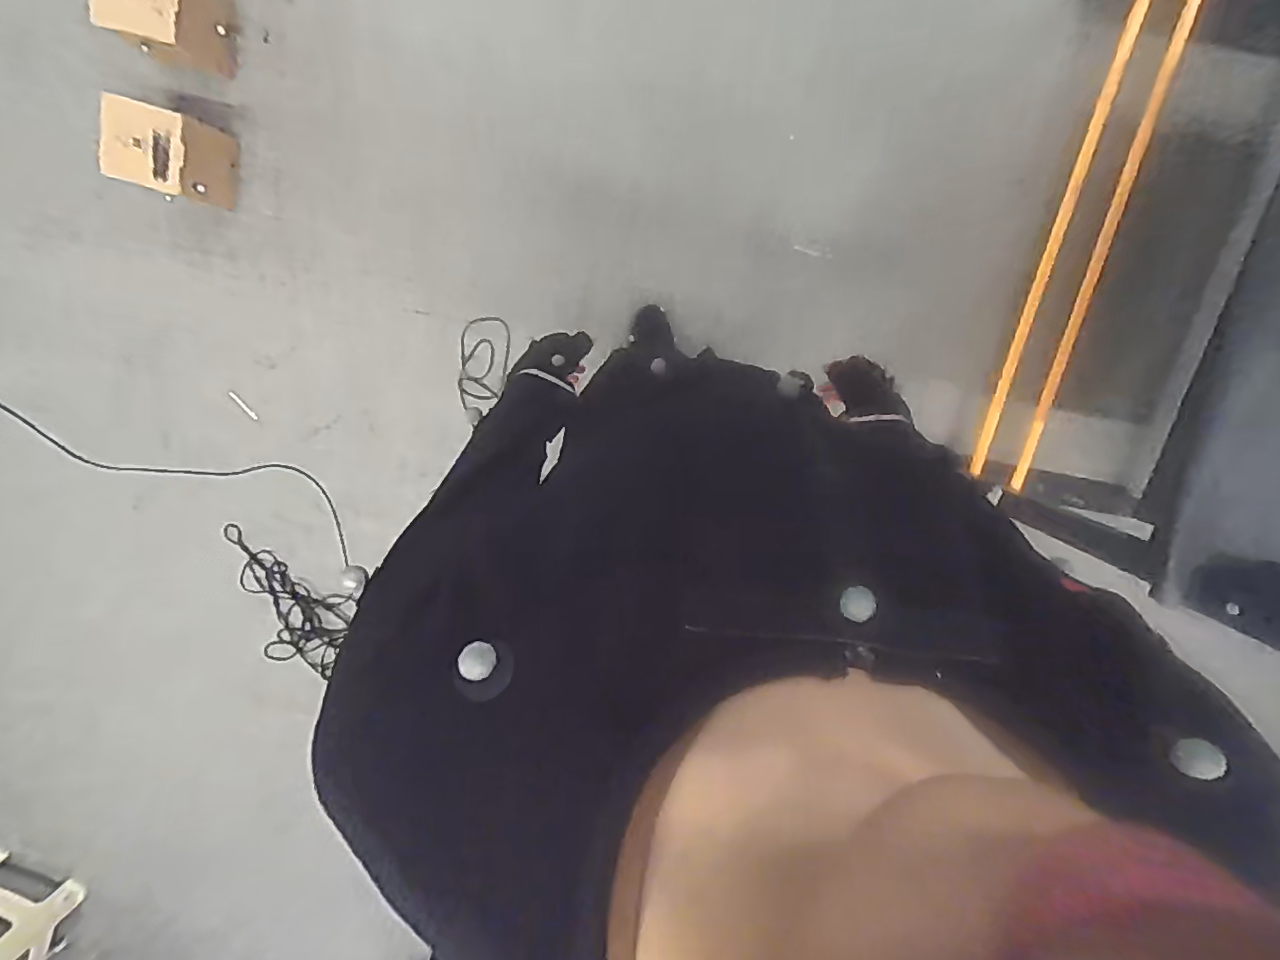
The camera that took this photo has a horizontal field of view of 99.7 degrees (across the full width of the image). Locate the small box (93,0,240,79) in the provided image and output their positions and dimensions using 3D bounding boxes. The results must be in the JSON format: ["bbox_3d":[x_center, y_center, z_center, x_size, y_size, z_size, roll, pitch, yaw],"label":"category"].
[{"bbox_3d":[-1.016,-1.011,1.169,0.179,0.176,0.168,12,104,-3],"label":"small box"}]
